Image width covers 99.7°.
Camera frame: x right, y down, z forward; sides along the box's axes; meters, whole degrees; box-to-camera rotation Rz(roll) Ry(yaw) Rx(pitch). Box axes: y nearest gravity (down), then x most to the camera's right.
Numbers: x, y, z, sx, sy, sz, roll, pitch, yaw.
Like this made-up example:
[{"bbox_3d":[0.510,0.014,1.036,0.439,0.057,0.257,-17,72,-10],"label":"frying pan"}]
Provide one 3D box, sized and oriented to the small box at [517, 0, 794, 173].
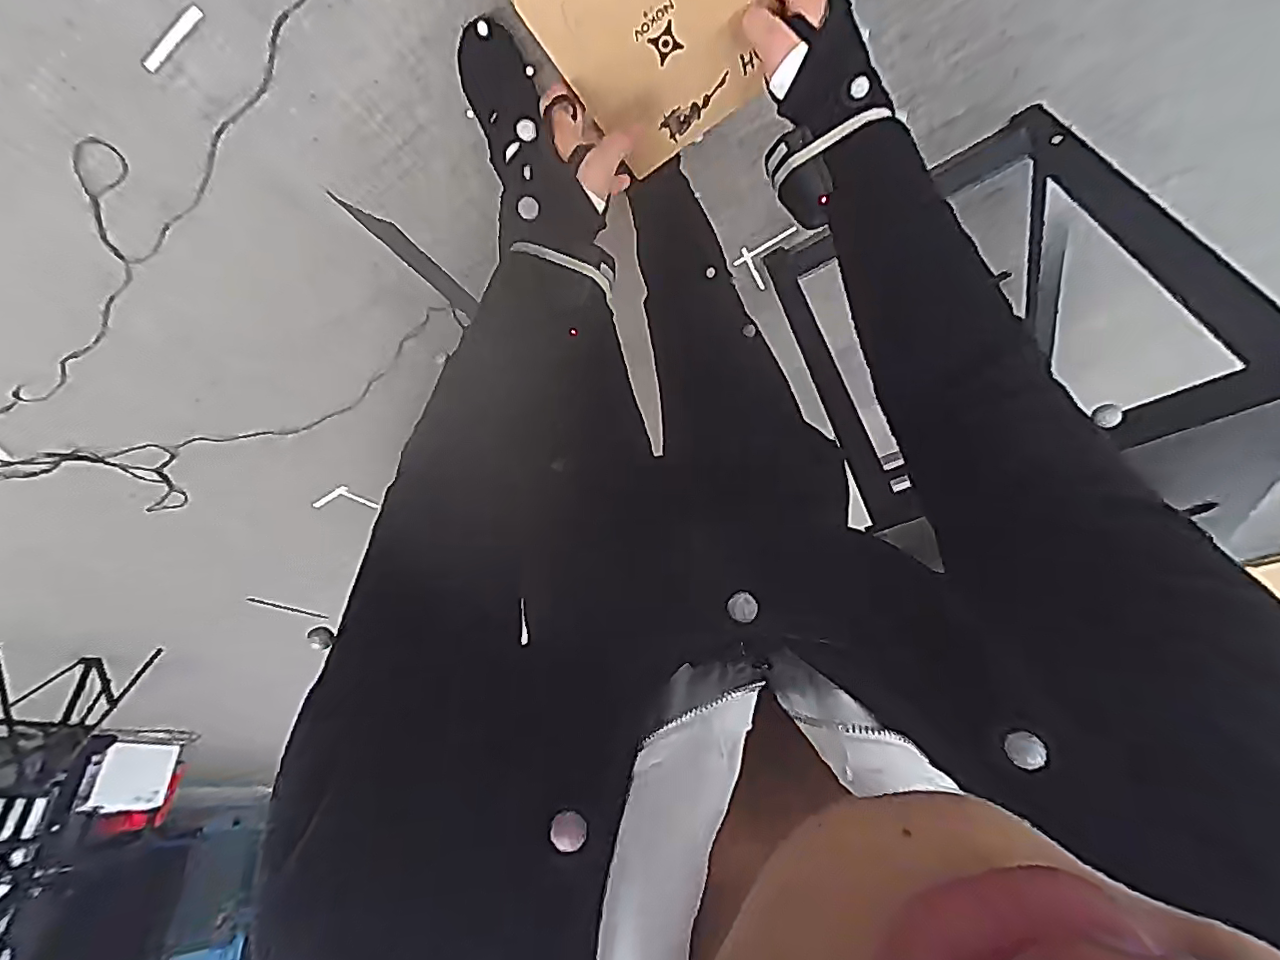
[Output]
[{"bbox_3d":[0.009,-0.426,0.472,0.168,0.176,0.179,-24,142,26],"label":"small box"}]
